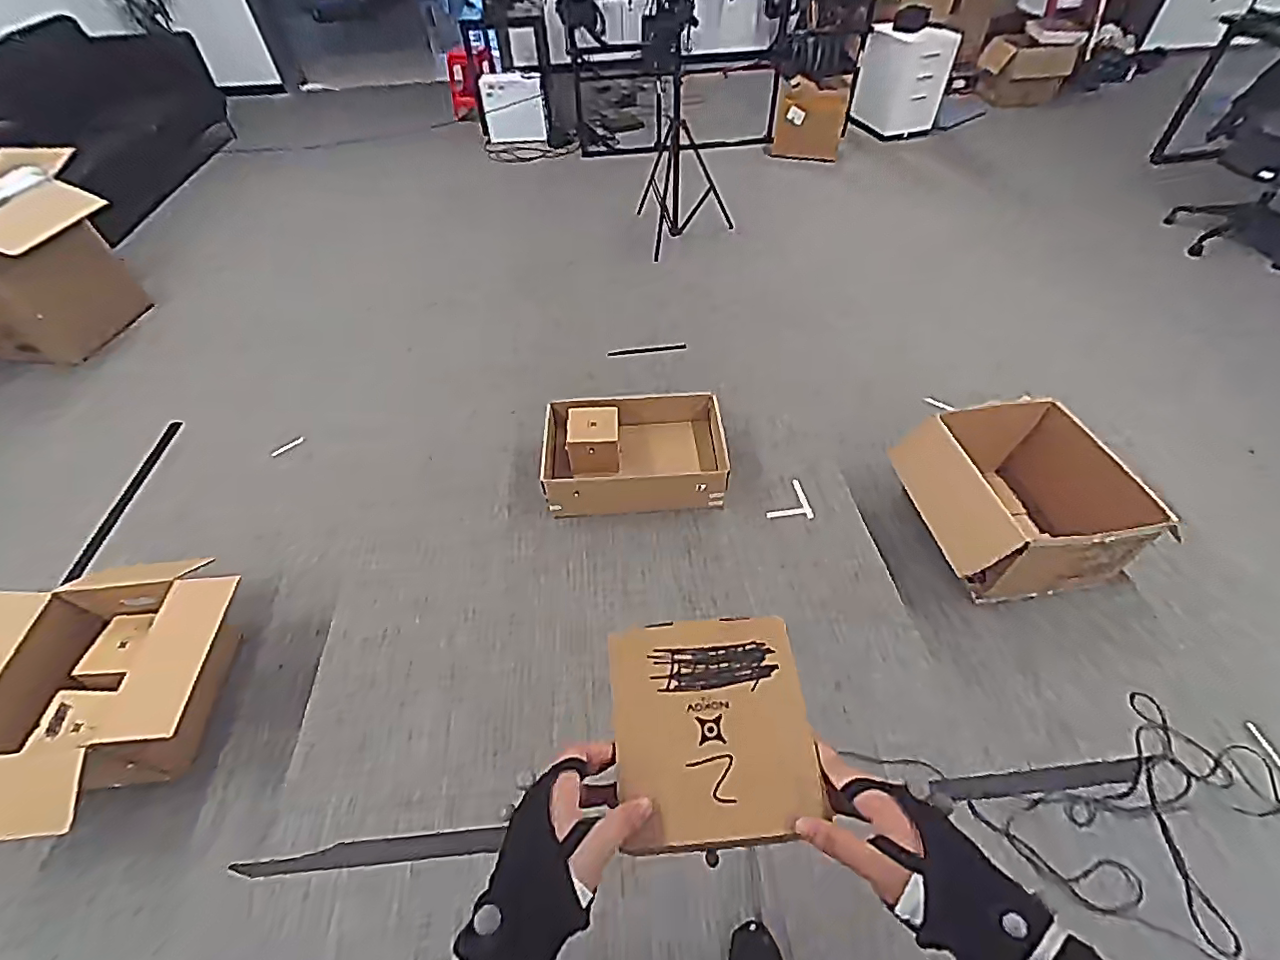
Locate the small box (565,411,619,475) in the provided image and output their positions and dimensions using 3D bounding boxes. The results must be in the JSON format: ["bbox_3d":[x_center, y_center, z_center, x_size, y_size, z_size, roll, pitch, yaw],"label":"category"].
[{"bbox_3d":[-0.167,-0.129,1.932,0.179,0.176,0.168,-2,52,-1],"label":"small box"}]
